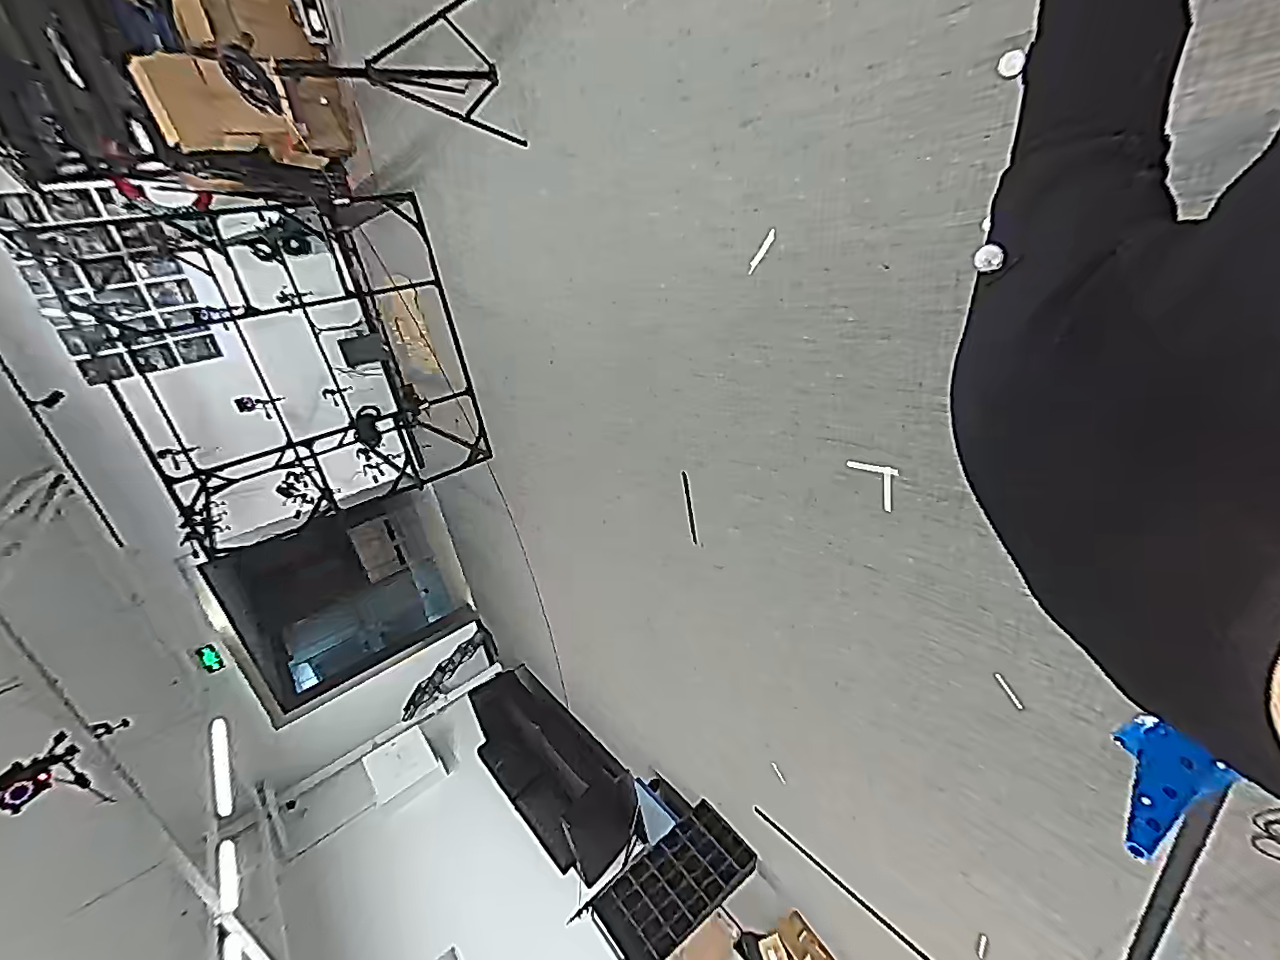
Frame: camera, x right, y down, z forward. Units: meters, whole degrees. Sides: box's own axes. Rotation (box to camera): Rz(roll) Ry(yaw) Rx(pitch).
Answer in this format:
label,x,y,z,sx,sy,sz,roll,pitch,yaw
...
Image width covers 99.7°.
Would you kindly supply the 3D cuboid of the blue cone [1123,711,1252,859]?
label,x,y,z,sx,sy,sz,roll,pitch,yaw
blue cone,1.239,0.744,1.275,0.193,0.380,0.192,41,142,35
